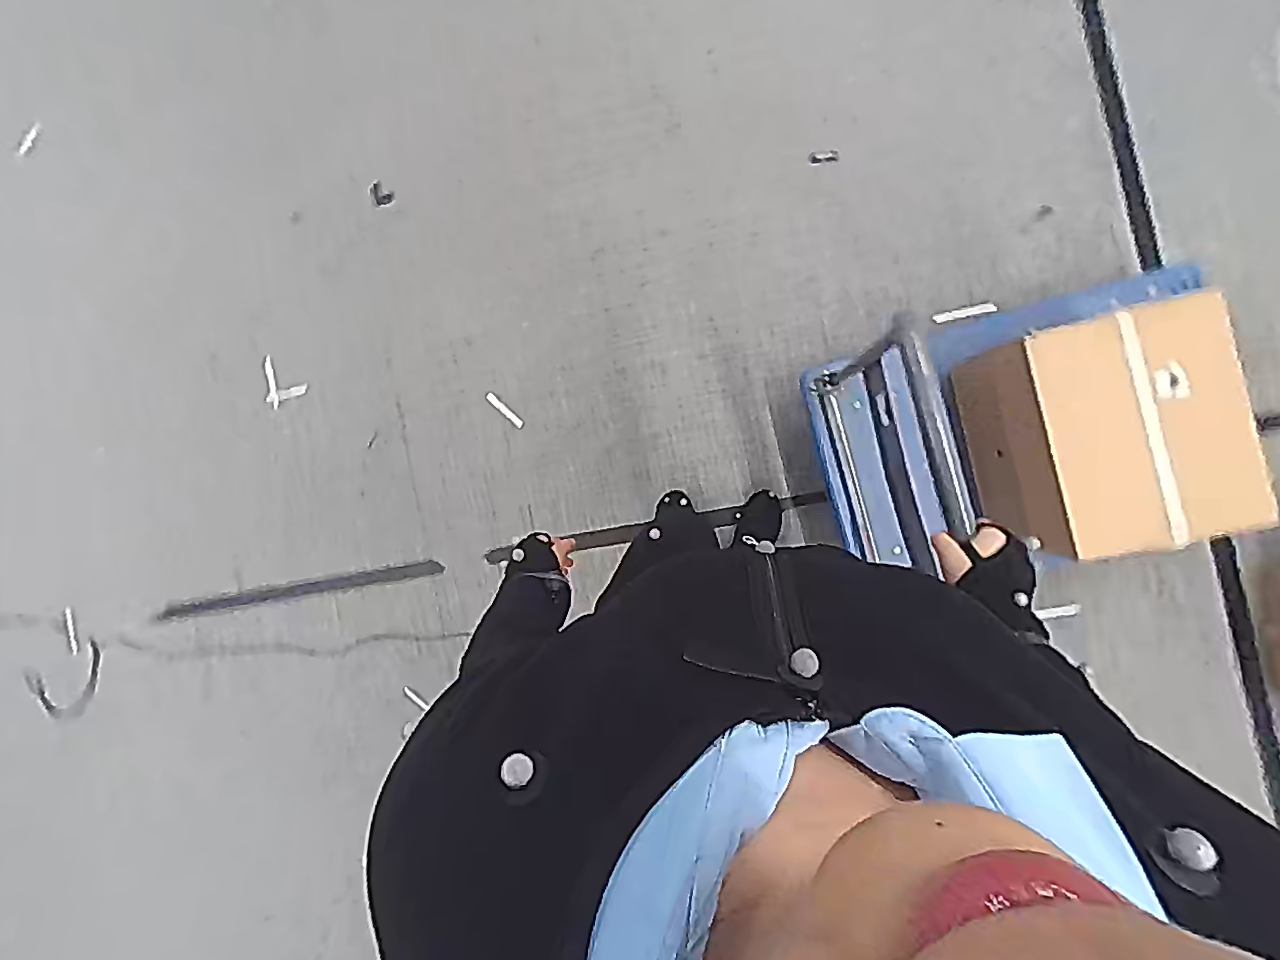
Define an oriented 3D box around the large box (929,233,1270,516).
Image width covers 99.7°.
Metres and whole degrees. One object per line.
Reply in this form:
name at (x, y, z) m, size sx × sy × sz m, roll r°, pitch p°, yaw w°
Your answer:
large box at (0.835, -0.174, 1.049) m, size 0.320 × 0.320 × 0.408 m, roll -20°, pitch 88°, yaw 7°
